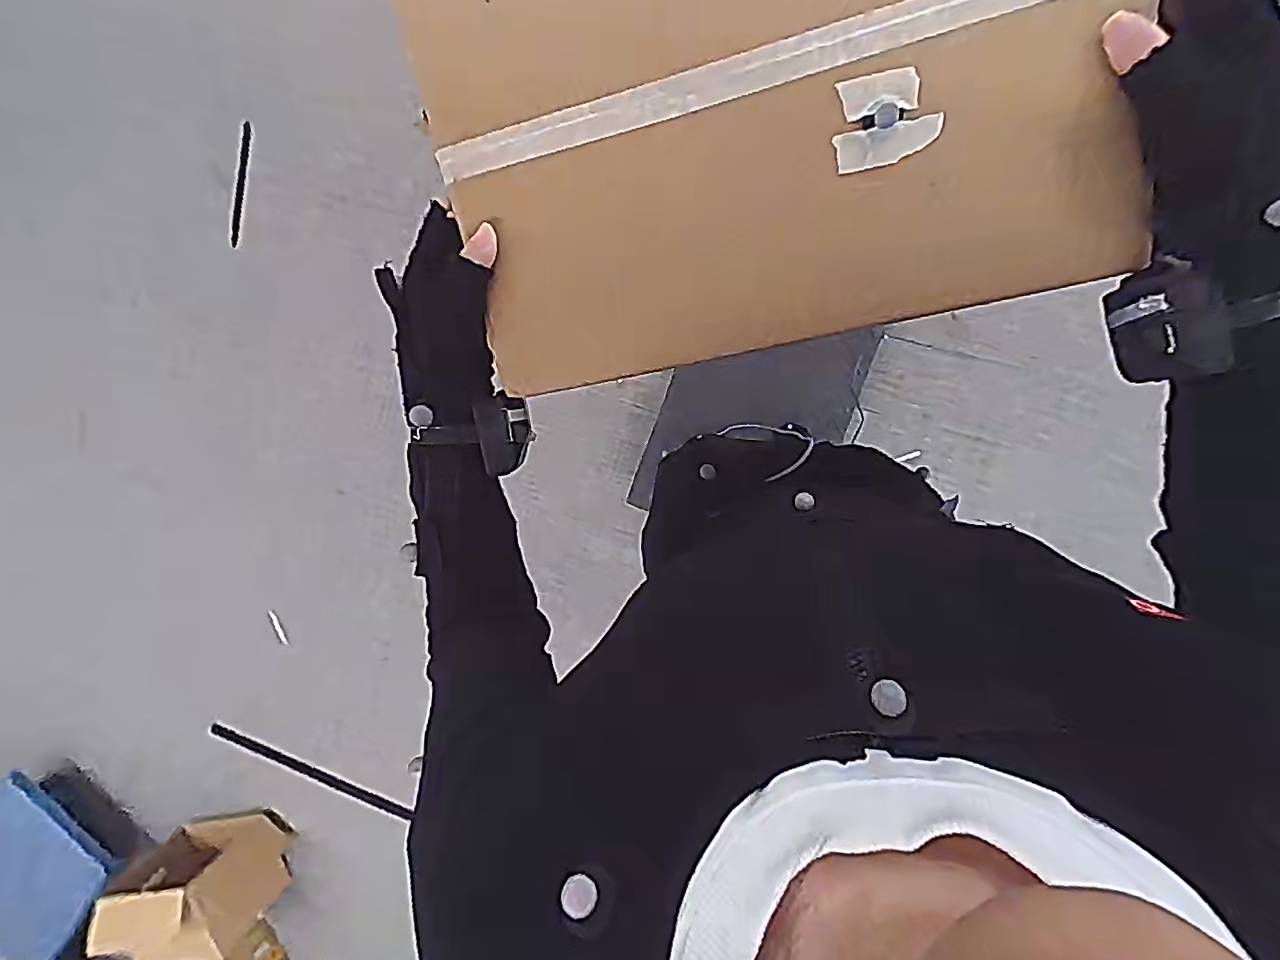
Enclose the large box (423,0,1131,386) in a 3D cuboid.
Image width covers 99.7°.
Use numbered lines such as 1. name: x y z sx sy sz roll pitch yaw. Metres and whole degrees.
1. large box: 0.093 -0.285 0.472 0.408 0.320 0.320 -9 104 11
